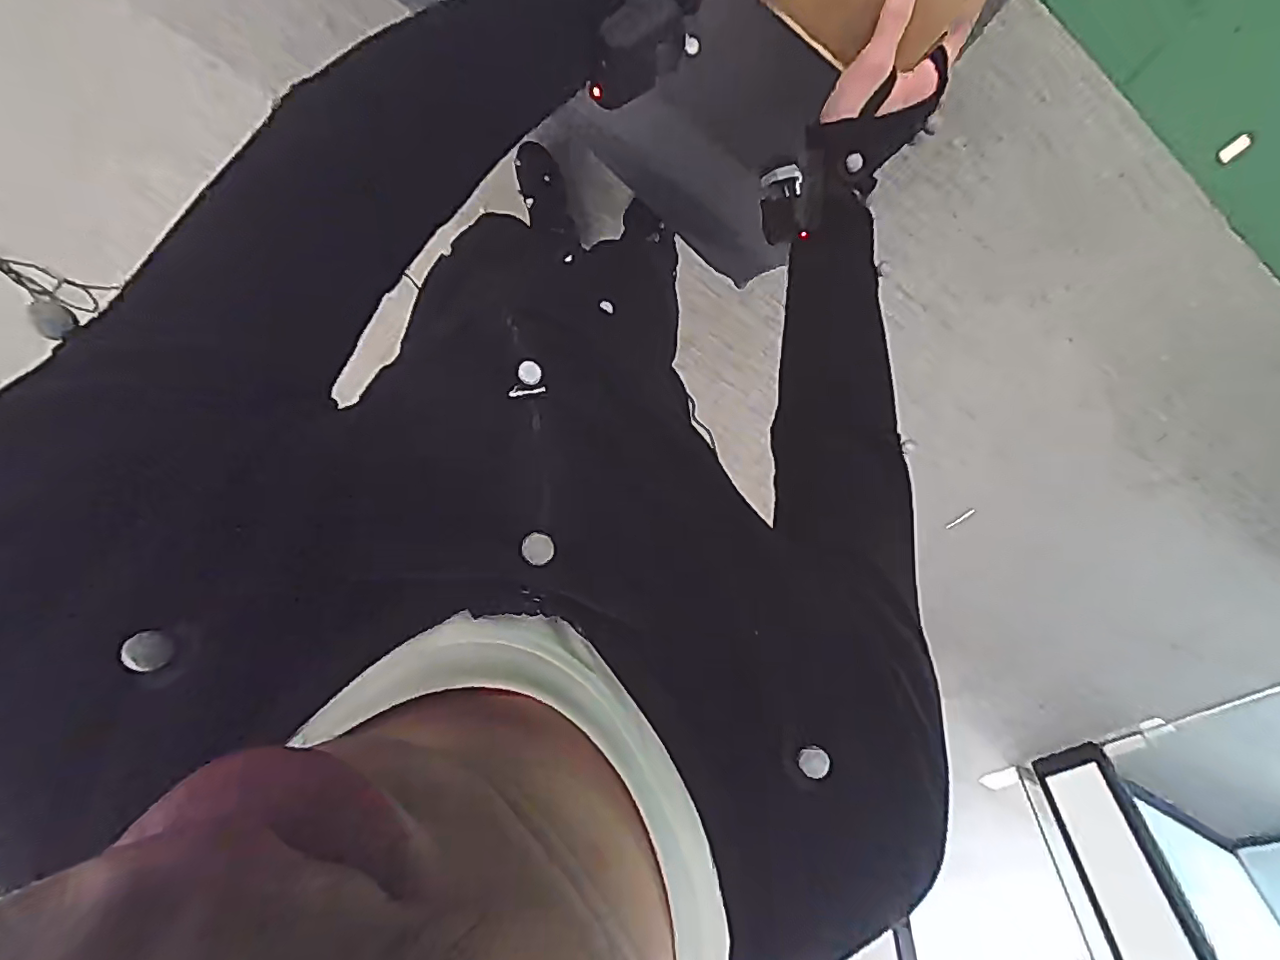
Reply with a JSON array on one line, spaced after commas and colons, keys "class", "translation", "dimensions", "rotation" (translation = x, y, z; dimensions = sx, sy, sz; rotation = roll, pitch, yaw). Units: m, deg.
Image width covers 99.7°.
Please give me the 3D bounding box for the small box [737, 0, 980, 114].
[{"class": "small box", "translation": [0.182, -0.428, 0.387], "dimensions": [0.179, 0.176, 0.168], "rotation": [31, 154, -12]}]
